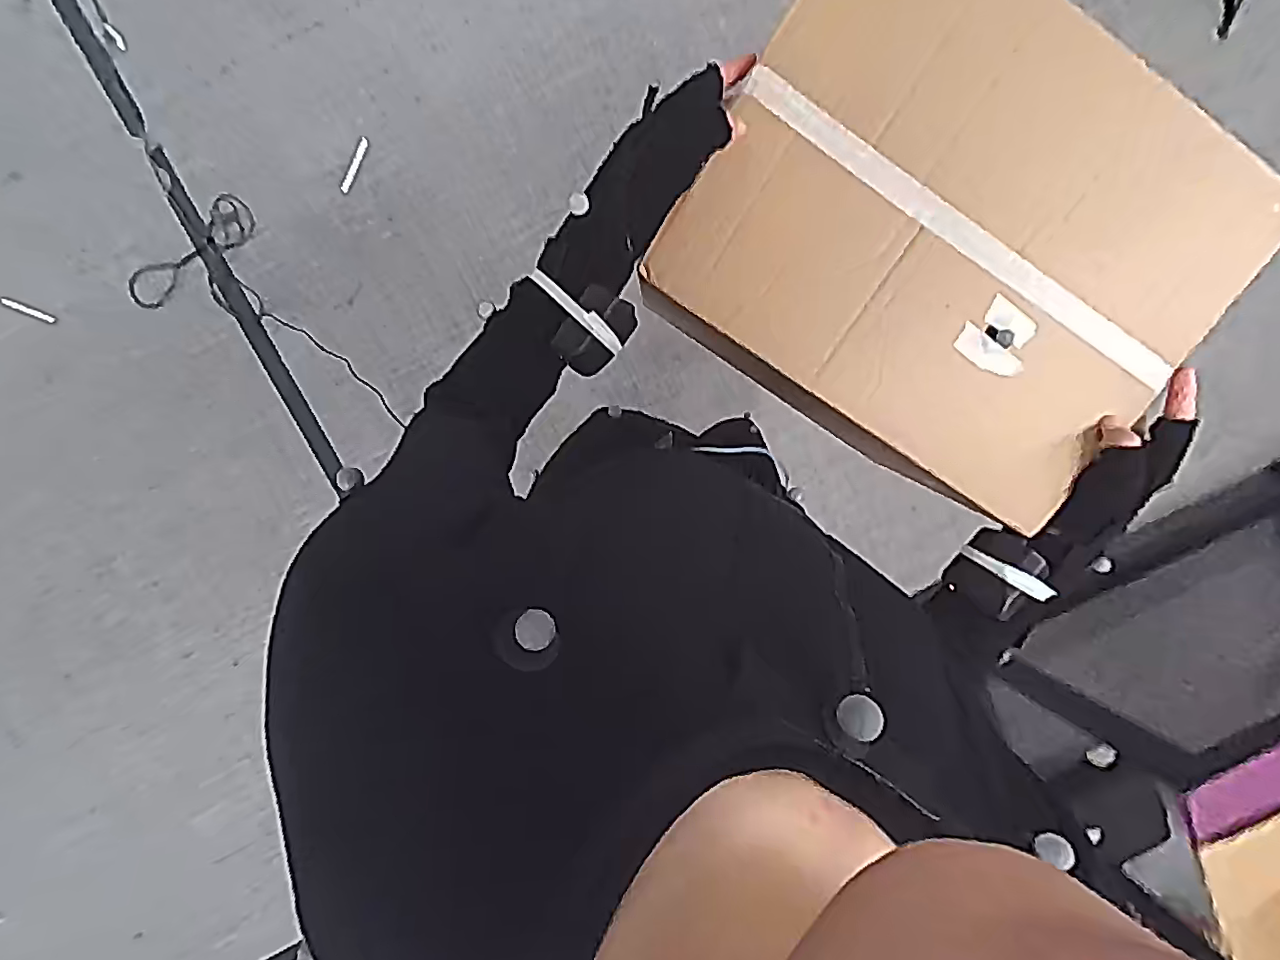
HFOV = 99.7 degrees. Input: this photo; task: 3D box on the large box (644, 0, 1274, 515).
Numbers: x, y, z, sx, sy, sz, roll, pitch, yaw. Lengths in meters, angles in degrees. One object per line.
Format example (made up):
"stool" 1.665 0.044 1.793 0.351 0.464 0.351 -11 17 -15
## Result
"large box" 0.249 -0.227 0.572 0.408 0.320 0.320 32 103 -7
